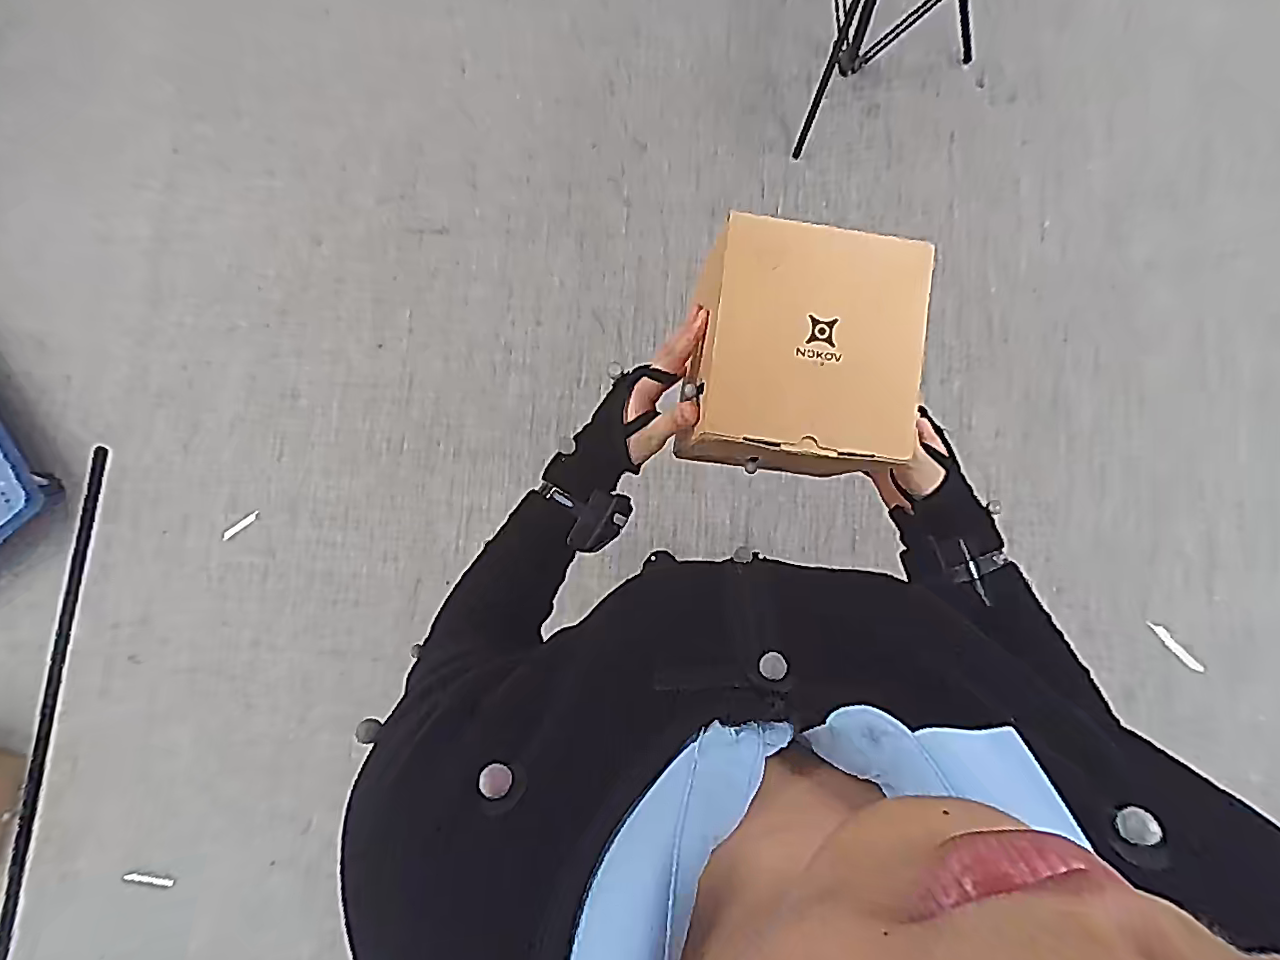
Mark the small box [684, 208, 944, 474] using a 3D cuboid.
[{"bbox_3d":[0.137,-0.105,0.484,0.168,0.176,0.179,7,87,-3],"label":"small box"}]
